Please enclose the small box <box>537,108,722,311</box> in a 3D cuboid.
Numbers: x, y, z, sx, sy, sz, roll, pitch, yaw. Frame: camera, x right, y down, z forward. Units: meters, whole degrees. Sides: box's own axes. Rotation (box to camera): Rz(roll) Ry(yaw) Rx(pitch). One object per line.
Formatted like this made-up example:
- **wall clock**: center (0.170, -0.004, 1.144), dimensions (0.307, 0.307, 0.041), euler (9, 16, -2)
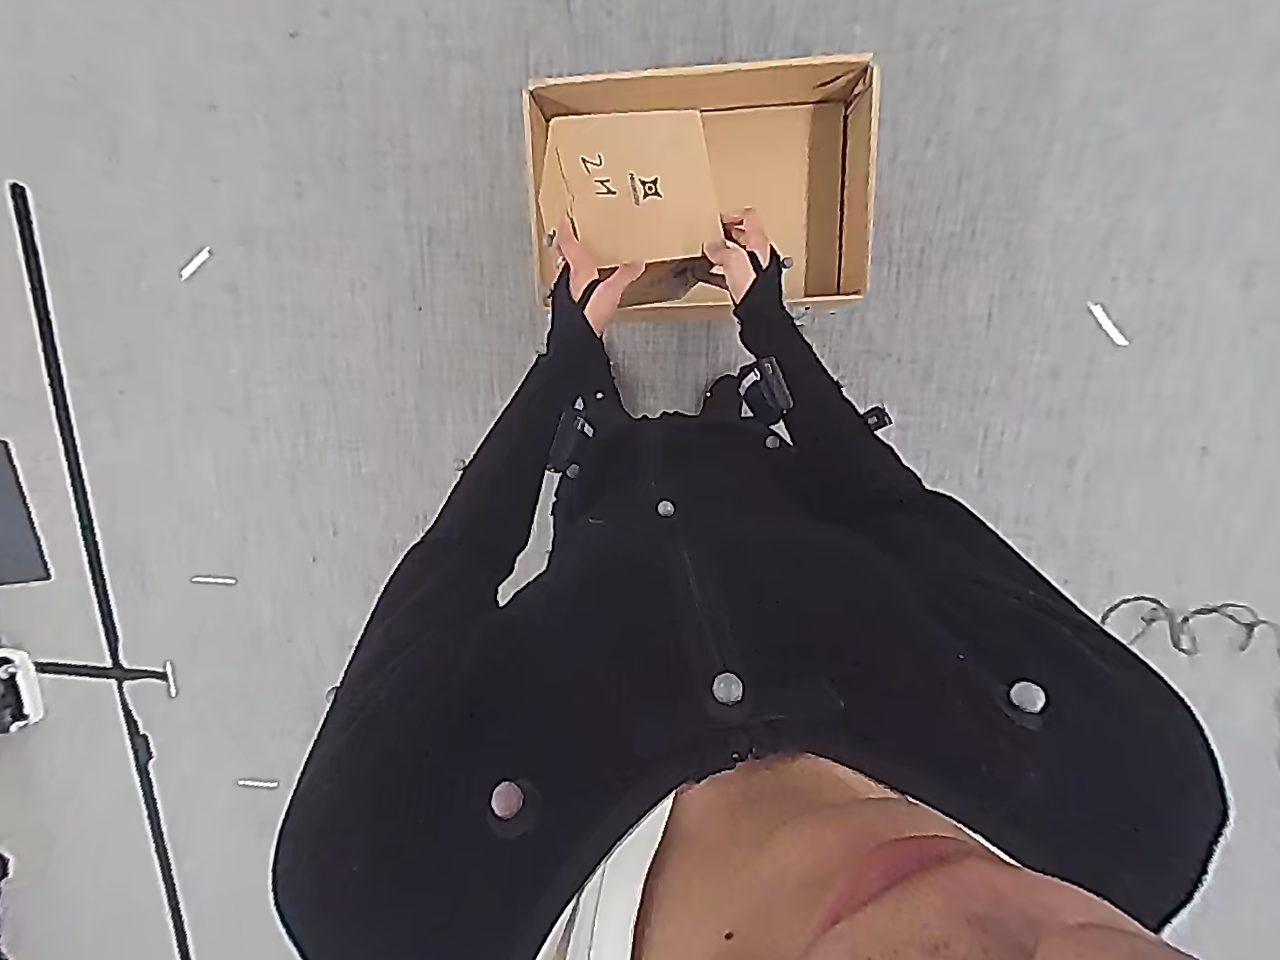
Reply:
- **small box**: center (-0.022, -0.324, 0.672), dimensions (0.179, 0.176, 0.168), euler (-13, 93, -13)
